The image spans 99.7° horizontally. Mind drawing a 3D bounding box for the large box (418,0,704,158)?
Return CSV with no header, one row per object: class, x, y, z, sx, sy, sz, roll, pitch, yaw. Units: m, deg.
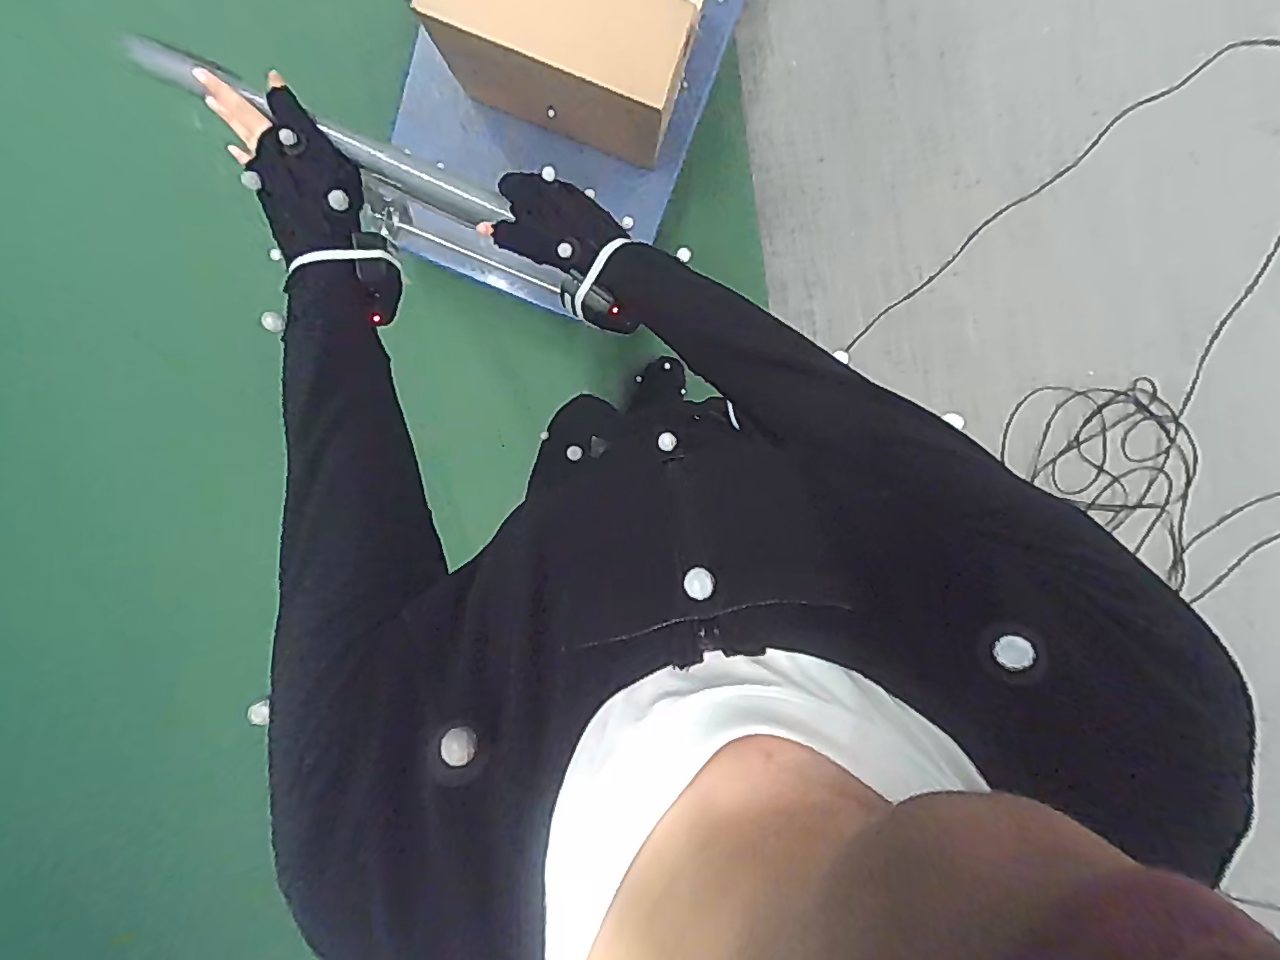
large box,-0.104,-0.831,0.944,0.408,0.320,0.320,18,103,-6
